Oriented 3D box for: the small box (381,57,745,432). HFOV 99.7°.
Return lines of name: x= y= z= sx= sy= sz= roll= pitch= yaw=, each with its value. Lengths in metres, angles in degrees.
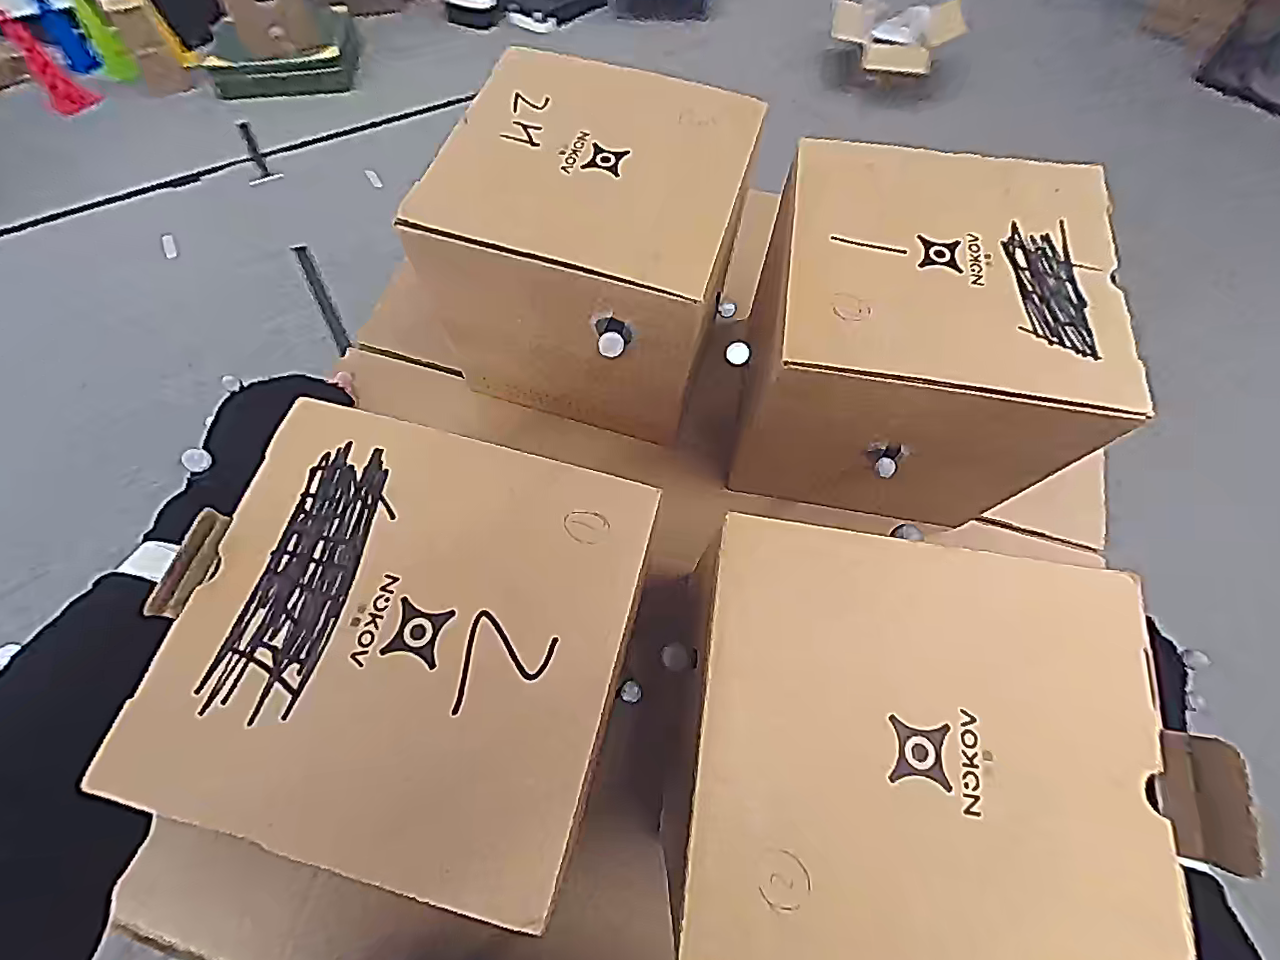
small box: x=-0.041 y=-0.155 z=0.396 sx=0.179 sy=0.176 sz=0.168 roll=17 pitch=67 yaw=6
